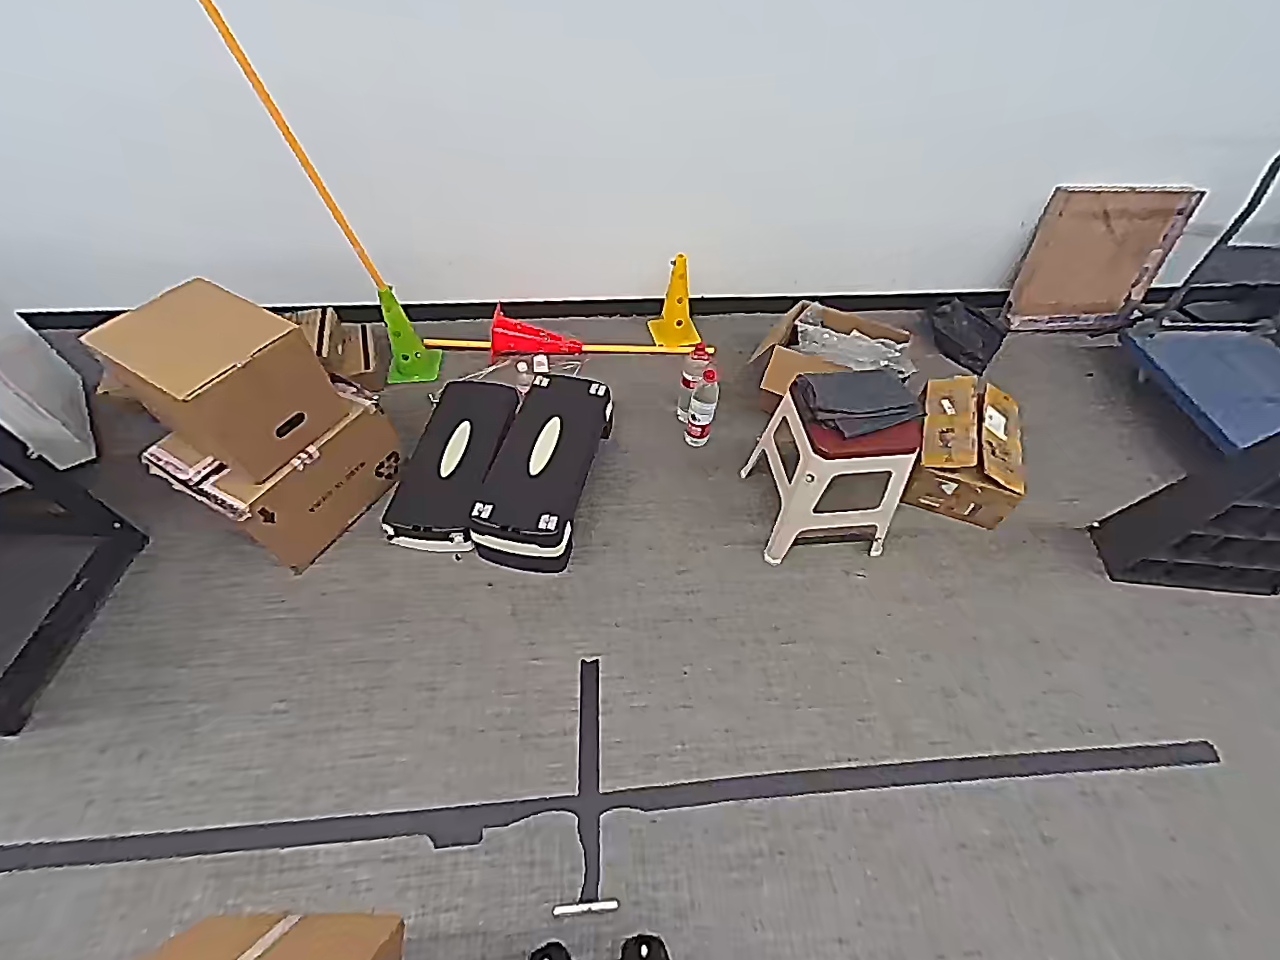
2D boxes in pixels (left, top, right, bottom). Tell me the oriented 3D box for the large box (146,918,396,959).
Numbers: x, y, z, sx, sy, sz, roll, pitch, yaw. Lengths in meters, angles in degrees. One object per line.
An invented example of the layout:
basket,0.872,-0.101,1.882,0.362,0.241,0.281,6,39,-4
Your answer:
large box,-0.508,0.761,0.578,0.320,0.408,0.320,-2,78,1
